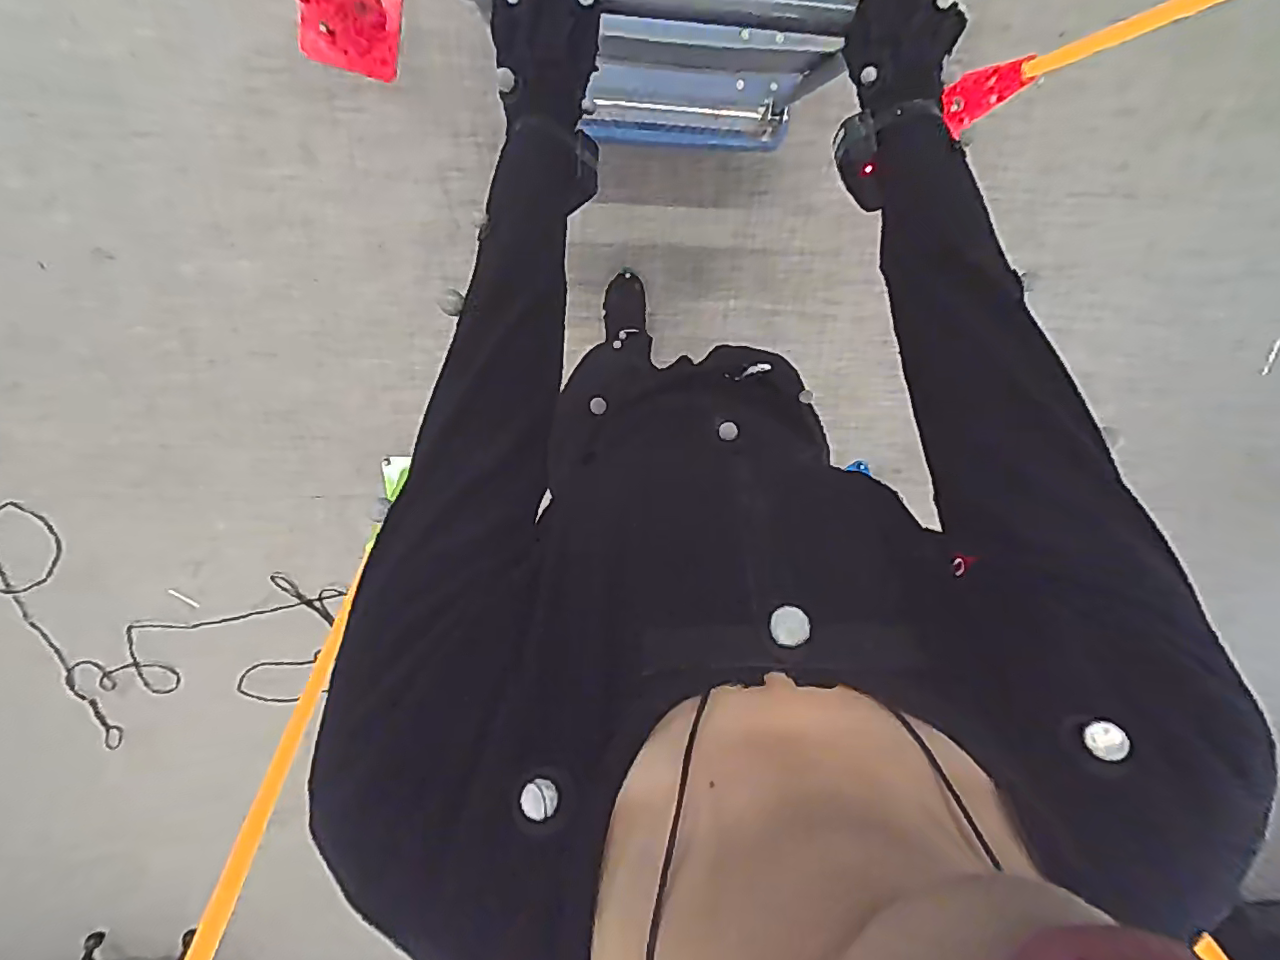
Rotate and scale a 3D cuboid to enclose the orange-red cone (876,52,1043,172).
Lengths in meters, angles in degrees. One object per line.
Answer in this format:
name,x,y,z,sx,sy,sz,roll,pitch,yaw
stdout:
orange-red cone,0.677,-0.785,1.104,0.198,0.360,0.199,11,111,-7
